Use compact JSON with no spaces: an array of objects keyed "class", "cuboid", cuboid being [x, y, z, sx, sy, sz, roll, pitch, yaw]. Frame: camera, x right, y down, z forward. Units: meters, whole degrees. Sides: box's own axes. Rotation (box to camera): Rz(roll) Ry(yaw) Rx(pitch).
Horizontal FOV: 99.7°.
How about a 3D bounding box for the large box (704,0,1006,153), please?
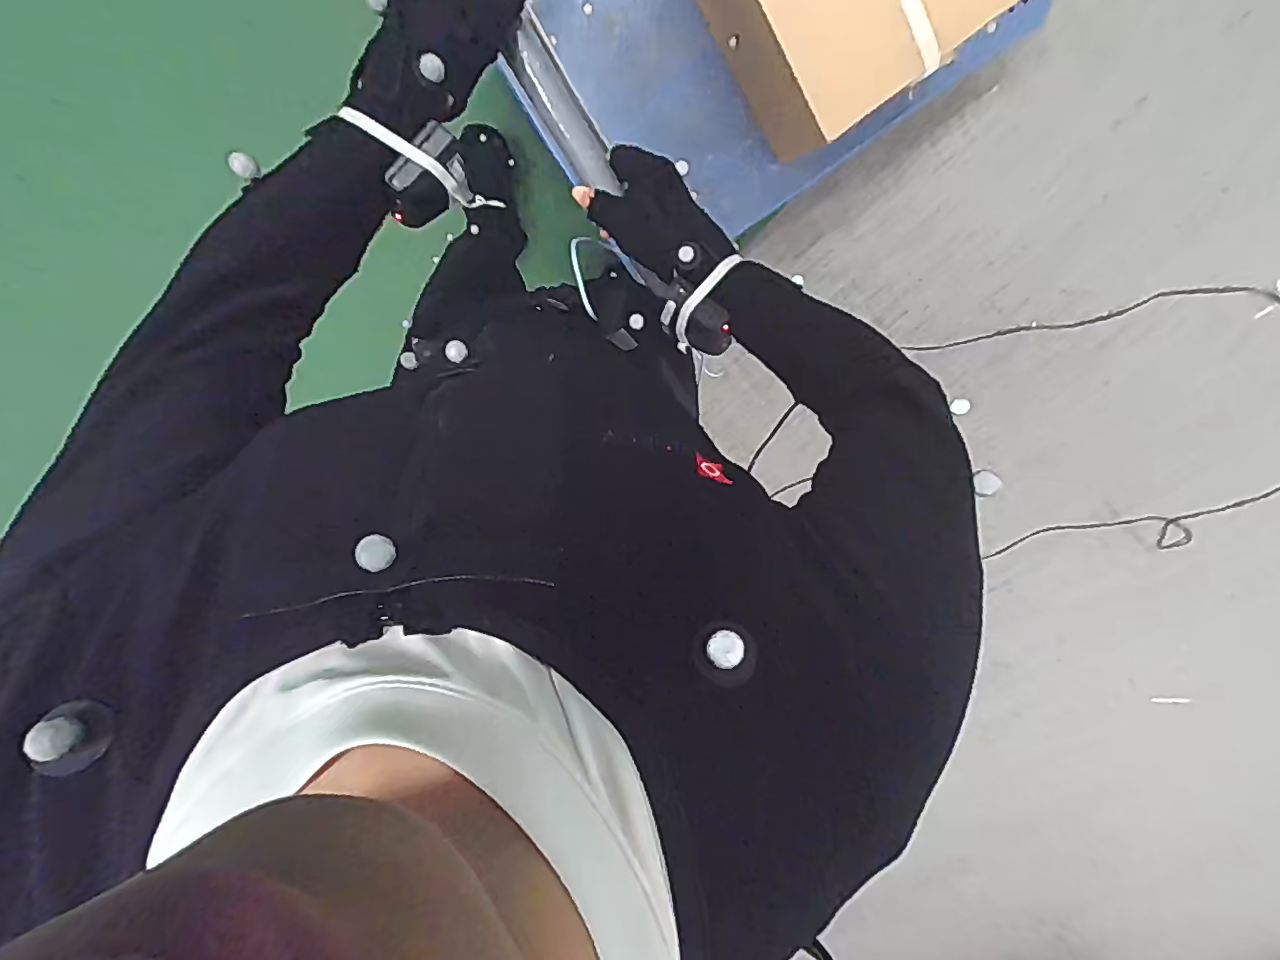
[{"class":"large box","cuboid":[0.285,-0.788,0.810,0.320,0.320,0.408,-32,111,15]}]
